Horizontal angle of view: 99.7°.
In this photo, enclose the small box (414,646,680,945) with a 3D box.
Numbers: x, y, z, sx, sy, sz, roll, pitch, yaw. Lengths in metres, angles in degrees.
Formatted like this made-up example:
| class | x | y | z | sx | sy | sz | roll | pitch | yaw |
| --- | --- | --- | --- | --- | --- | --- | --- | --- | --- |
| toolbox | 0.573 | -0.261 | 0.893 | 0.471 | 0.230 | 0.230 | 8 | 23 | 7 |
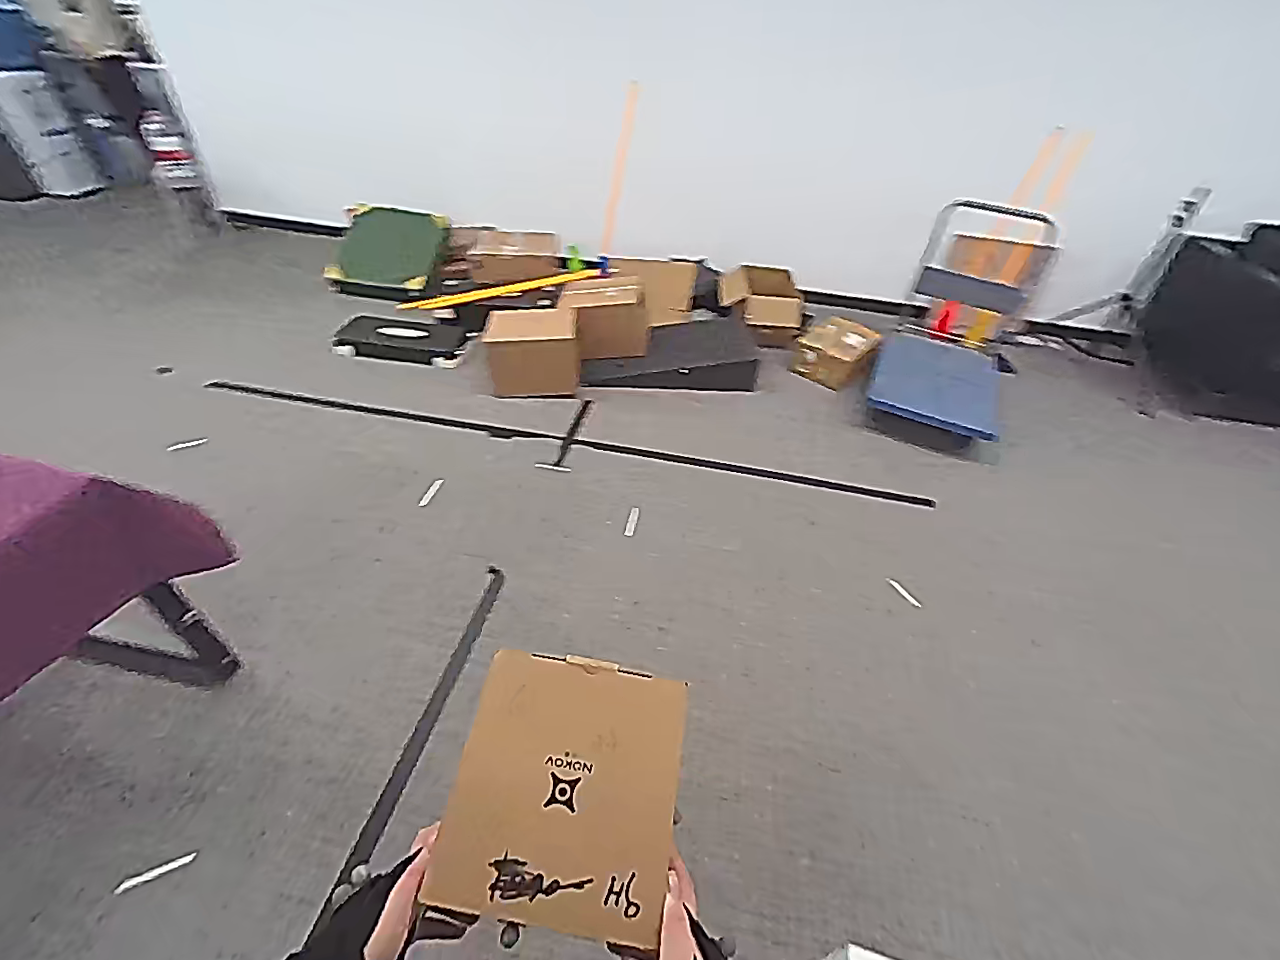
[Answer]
| class | x | y | z | sx | sy | sz | roll | pitch | yaw |
| --- | --- | --- | --- | --- | --- | --- | --- | --- | --- |
| small box | -0.064 | 0.269 | 0.470 | 0.168 | 0.176 | 0.179 | 9 | 54 | 3 |
